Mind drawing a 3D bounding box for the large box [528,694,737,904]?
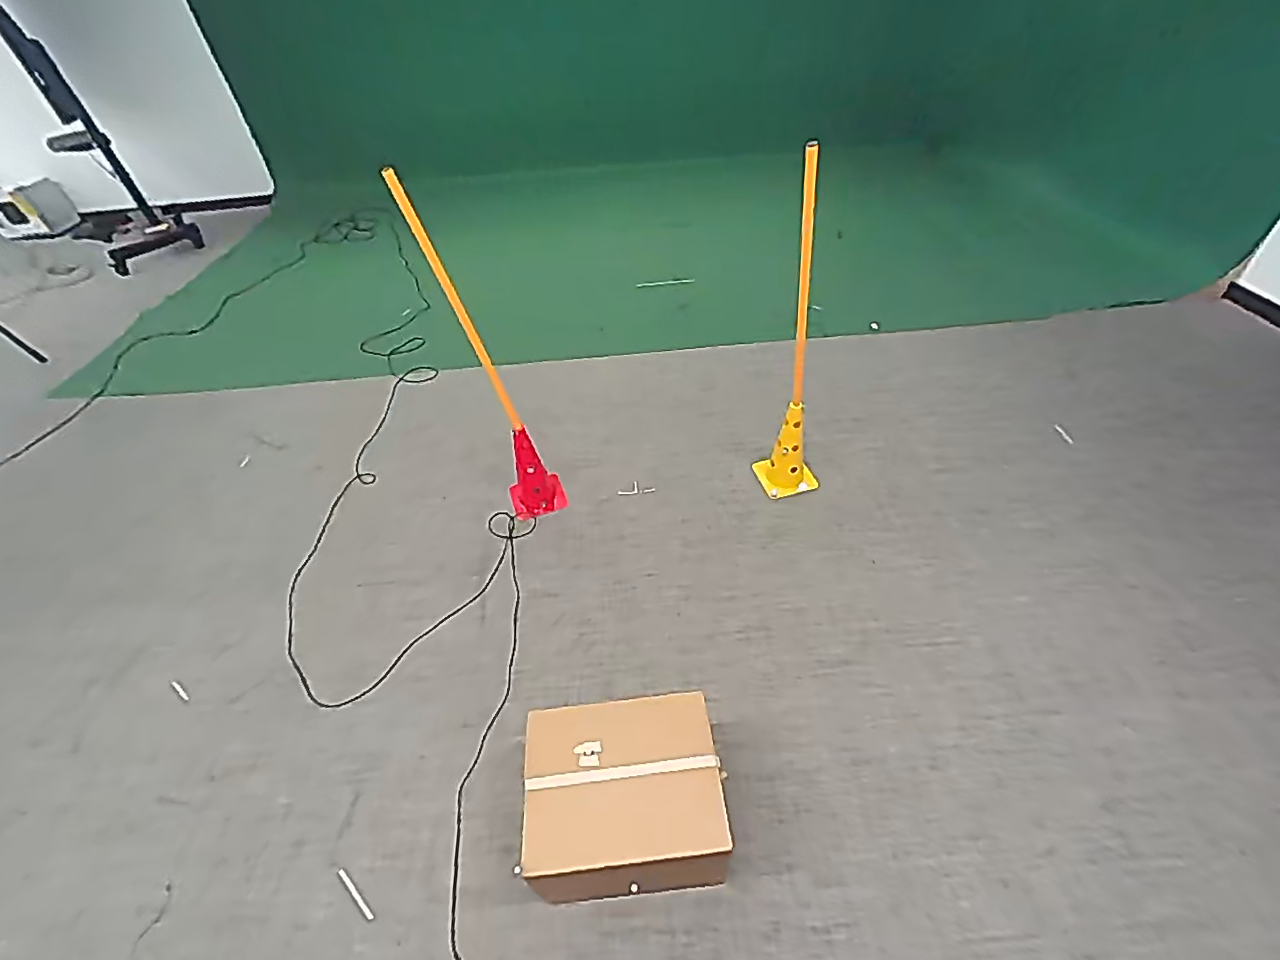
[{"bbox_3d":[-0.016,0.725,1.227,0.408,0.320,0.320,-7,43,-1],"label":"large box"}]
